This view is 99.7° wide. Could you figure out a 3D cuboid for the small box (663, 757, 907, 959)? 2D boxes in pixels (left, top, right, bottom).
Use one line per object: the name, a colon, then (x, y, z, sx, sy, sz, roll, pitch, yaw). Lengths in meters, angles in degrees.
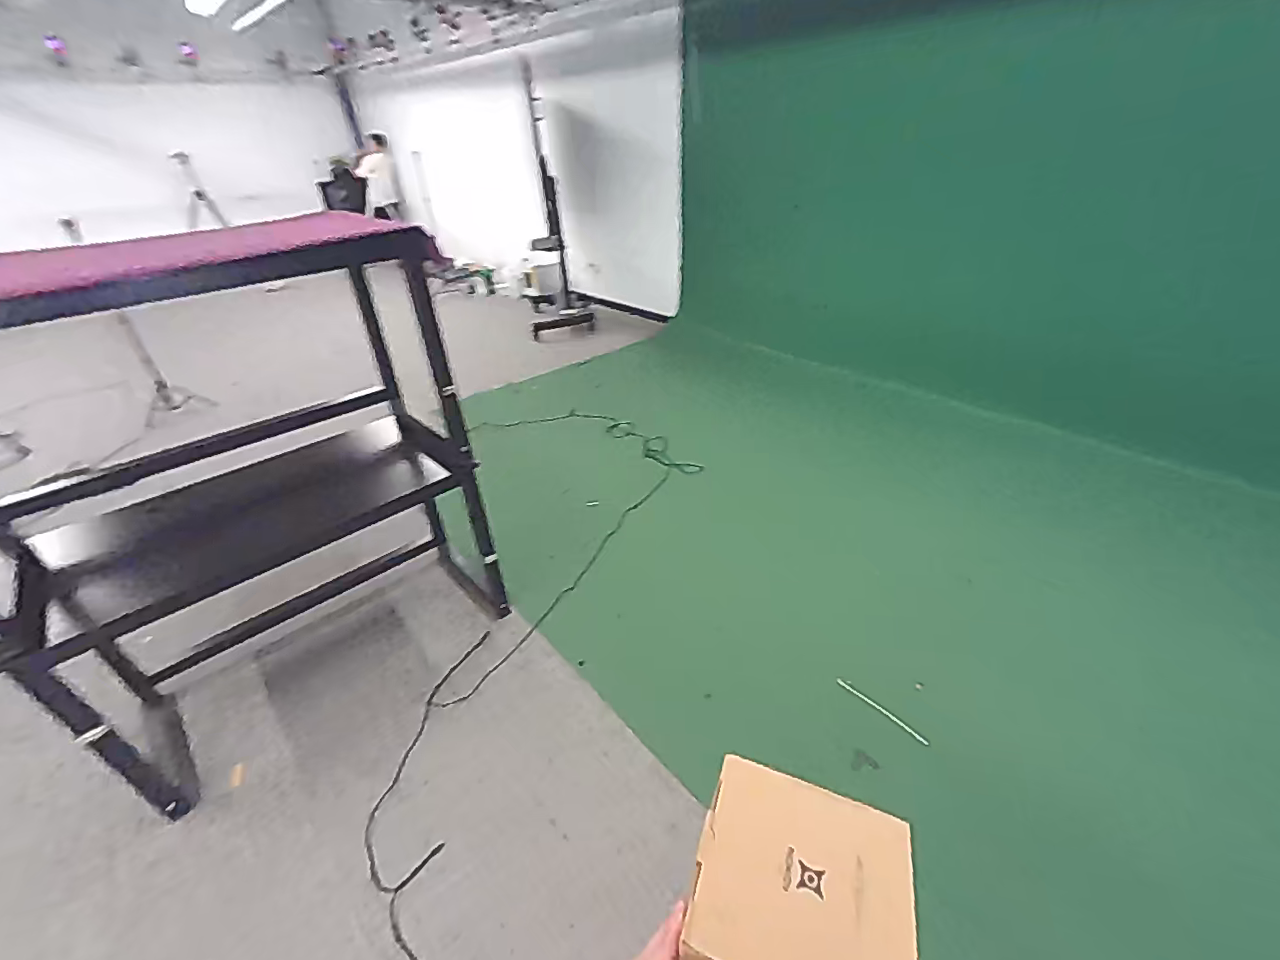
small box: (0.123, 0.399, 0.490, 0.179, 0.176, 0.168, 15, 33, 14)
